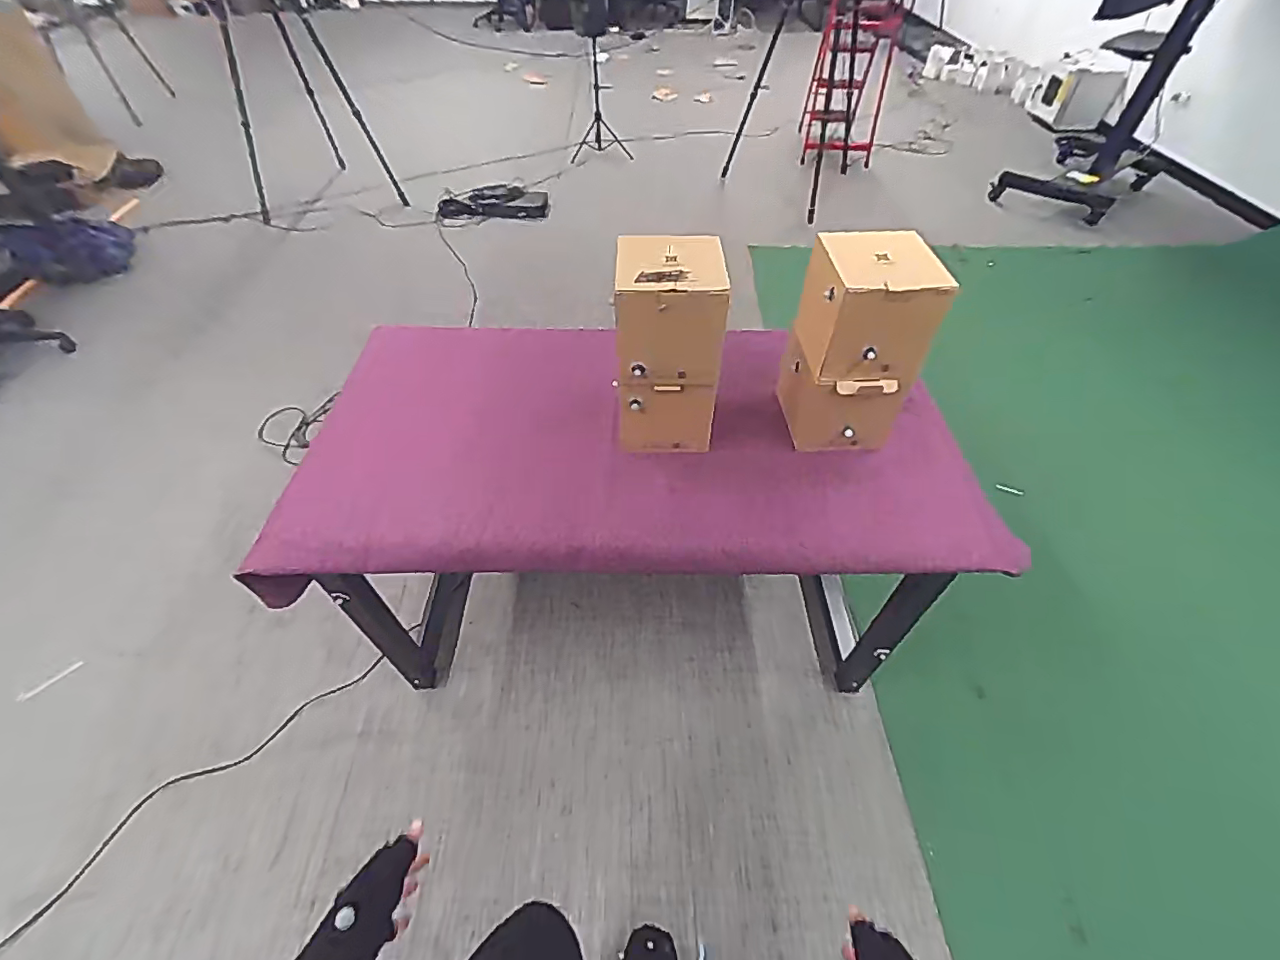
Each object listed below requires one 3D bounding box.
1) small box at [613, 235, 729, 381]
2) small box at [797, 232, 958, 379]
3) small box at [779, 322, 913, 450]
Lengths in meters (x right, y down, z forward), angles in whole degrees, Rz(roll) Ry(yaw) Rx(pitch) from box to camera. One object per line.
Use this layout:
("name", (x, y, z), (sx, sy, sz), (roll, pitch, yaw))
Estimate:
("small box", (0.046, -0.274, 0.870), (0.168, 0.176, 0.179), (0, 48, 0))
("small box", (0.369, -0.284, 0.882), (0.168, 0.176, 0.179), (-2, 51, -2))
("small box", (0.366, -0.175, 1.004), (0.168, 0.176, 0.179), (-3, 50, -1))
